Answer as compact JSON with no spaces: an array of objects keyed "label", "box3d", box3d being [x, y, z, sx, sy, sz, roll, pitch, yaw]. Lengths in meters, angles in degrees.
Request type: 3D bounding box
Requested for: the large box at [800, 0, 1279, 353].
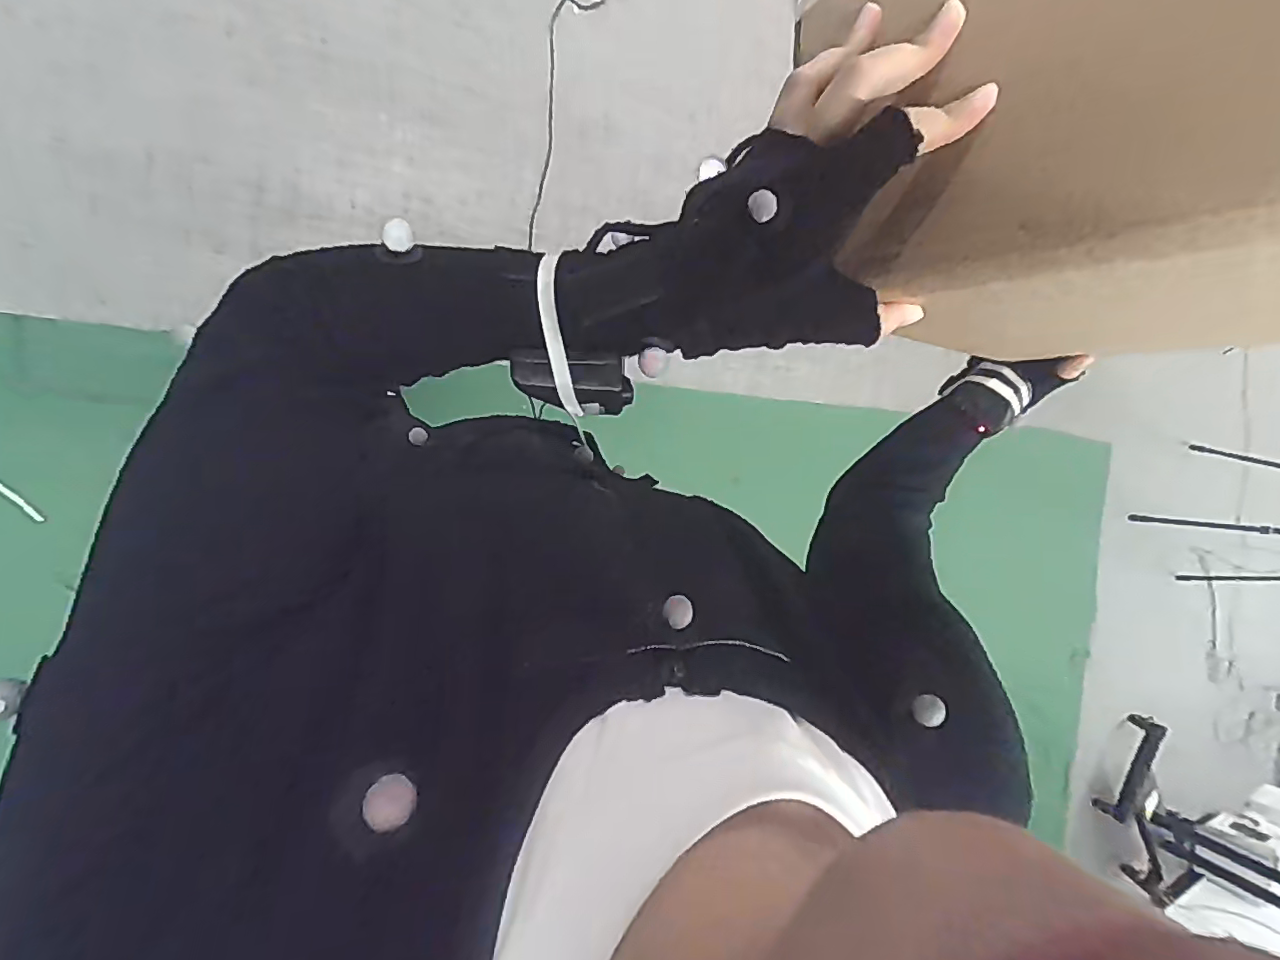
[{"label":"large box","box3d":[0.329,-0.250,0.303,0.408,0.320,0.320,-6,100,-43]}]
